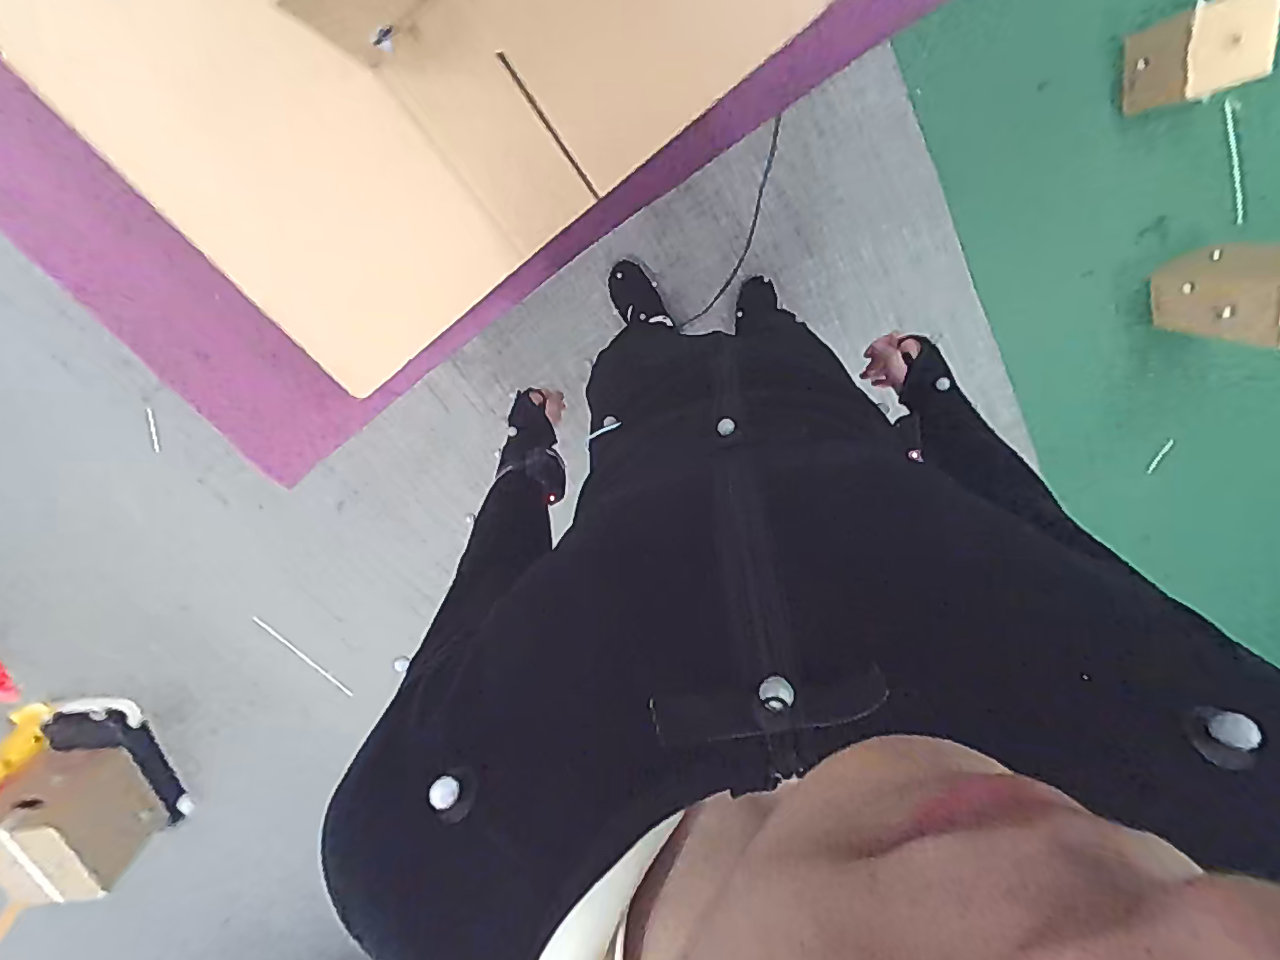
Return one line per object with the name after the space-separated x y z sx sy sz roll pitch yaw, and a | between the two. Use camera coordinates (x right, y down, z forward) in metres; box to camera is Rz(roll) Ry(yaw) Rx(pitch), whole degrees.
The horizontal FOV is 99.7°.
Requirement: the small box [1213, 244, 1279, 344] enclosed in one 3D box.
1.510 -0.442 1.258 0.179 0.176 0.168 -25 114 10 | small box

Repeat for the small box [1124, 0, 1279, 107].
1.232 -0.957 1.192 0.179 0.176 0.168 -16 115 8 | small box

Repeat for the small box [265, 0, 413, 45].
-0.241 -0.460 0.385 0.168 0.176 0.179 -35 111 13 | small box
